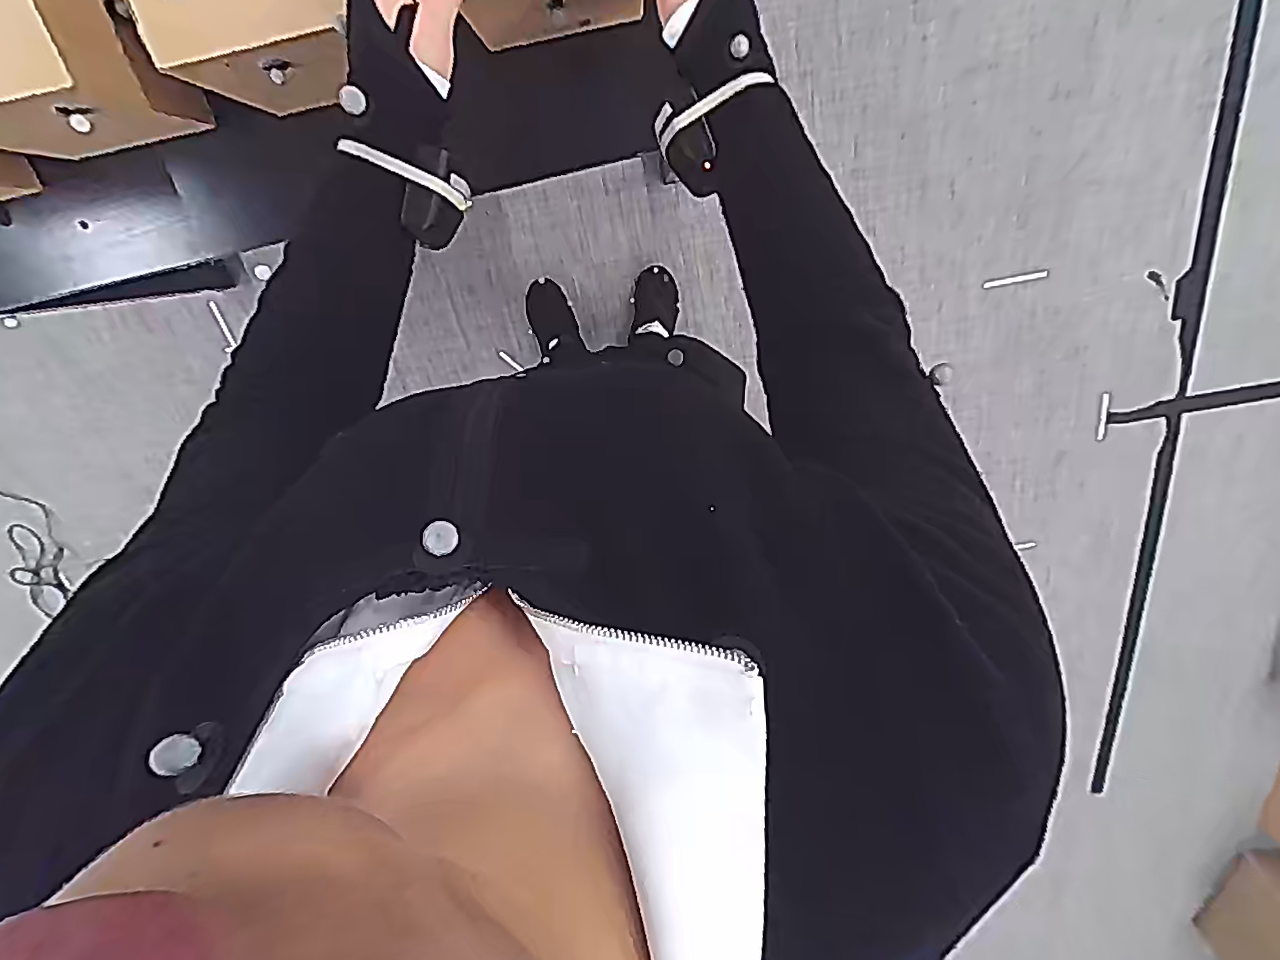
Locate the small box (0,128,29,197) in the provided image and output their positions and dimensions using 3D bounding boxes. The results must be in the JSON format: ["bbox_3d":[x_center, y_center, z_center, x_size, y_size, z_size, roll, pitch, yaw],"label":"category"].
[{"bbox_3d":[-0.772,-0.359,0.504,0.168,0.176,0.179,-10,114,5],"label":"small box"}]

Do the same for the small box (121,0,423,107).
[{"bbox_3d":[-0.321,-0.449,0.467,0.179,0.176,0.168,-10,113,3],"label":"small box"}]

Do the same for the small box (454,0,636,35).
[{"bbox_3d":[-0.093,-0.502,0.443,0.168,0.176,0.179,-10,114,3],"label":"small box"}]
